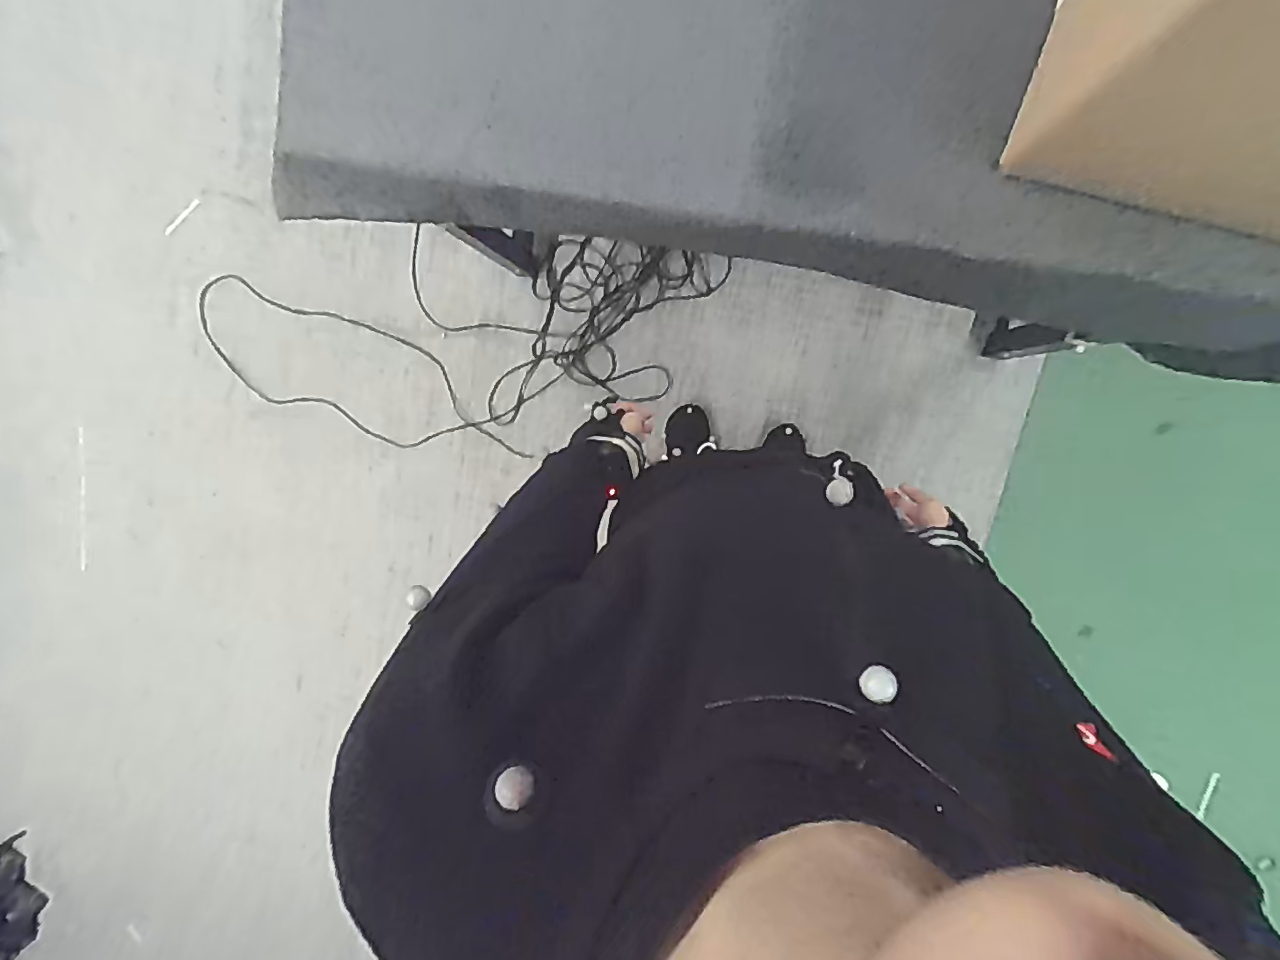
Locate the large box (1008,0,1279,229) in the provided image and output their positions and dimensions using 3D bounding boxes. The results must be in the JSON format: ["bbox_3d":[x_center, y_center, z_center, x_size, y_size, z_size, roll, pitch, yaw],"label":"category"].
[{"bbox_3d":[0.571,-0.383,0.357,0.408,0.320,0.320,17,100,4],"label":"large box"}]
